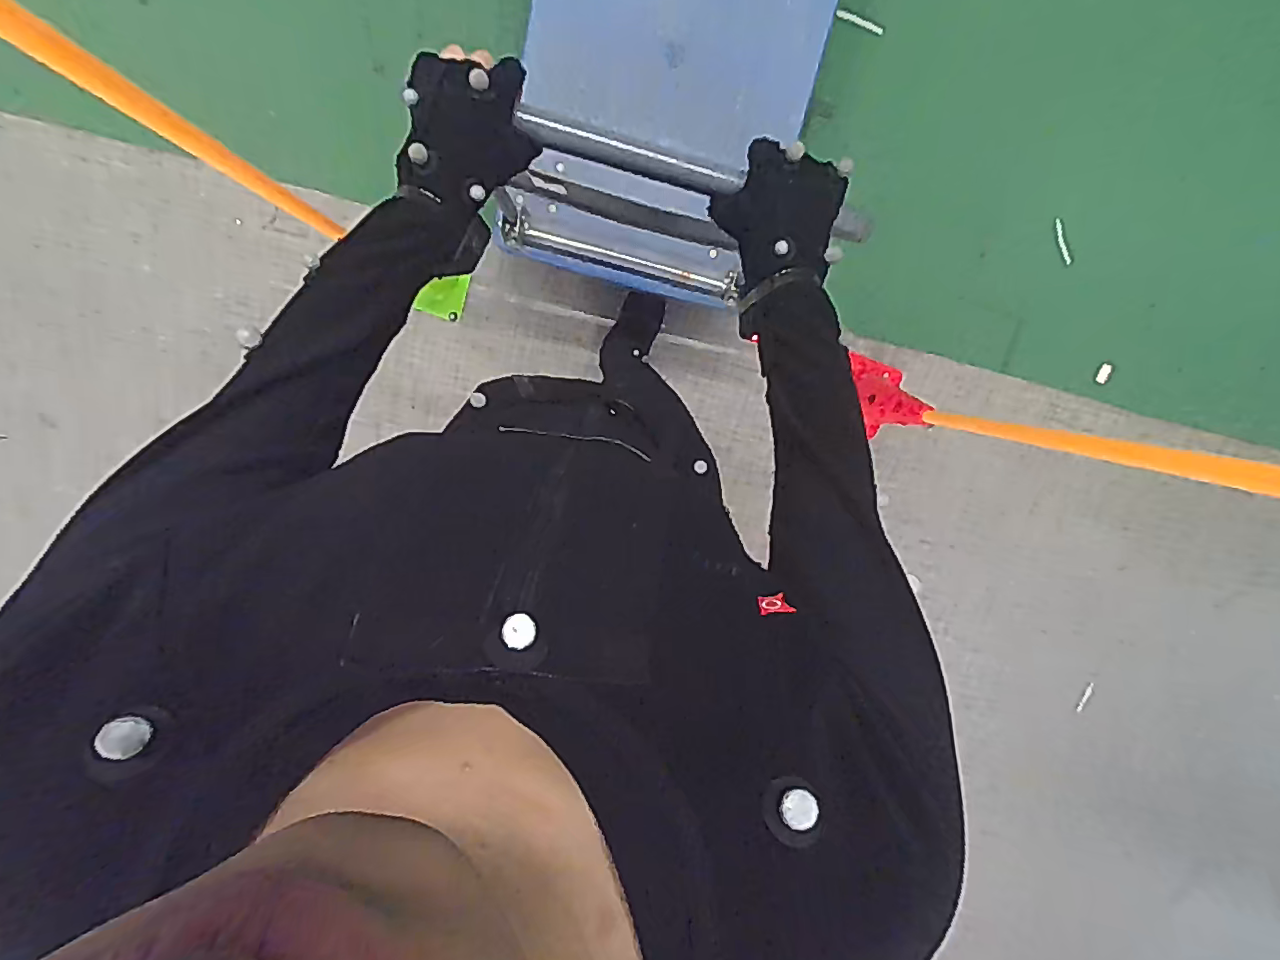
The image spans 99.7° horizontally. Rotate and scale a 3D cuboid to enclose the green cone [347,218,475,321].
[{"bbox_3d":[-0.514,-0.470,1.158,0.202,0.368,0.200,18,103,-6],"label":"green cone"}]
